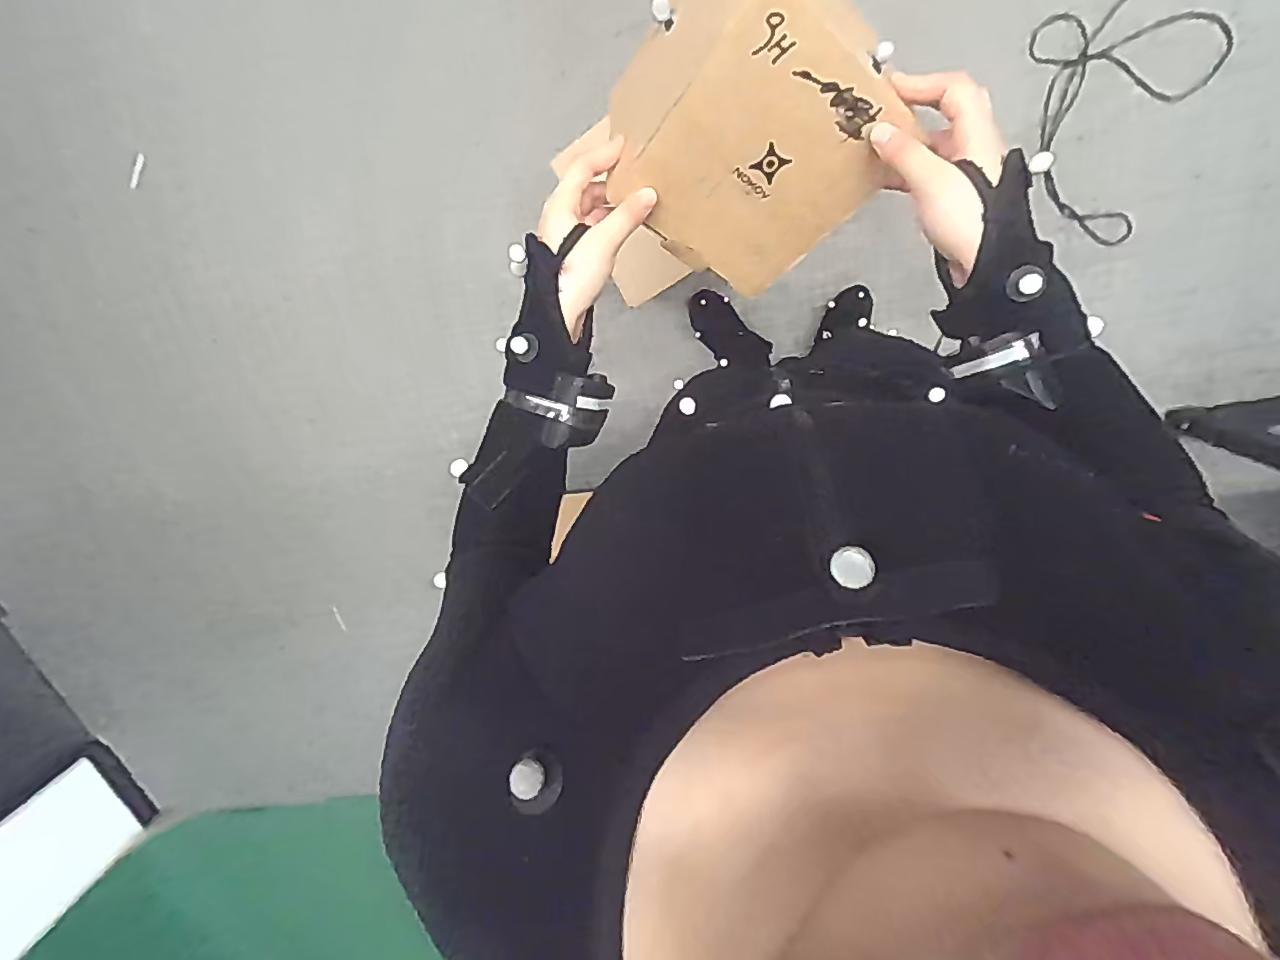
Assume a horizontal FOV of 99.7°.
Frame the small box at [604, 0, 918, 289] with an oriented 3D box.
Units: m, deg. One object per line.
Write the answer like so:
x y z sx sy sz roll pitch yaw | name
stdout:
0.090 -0.306 0.448 0.168 0.176 0.179 22 144 -30 | small box
